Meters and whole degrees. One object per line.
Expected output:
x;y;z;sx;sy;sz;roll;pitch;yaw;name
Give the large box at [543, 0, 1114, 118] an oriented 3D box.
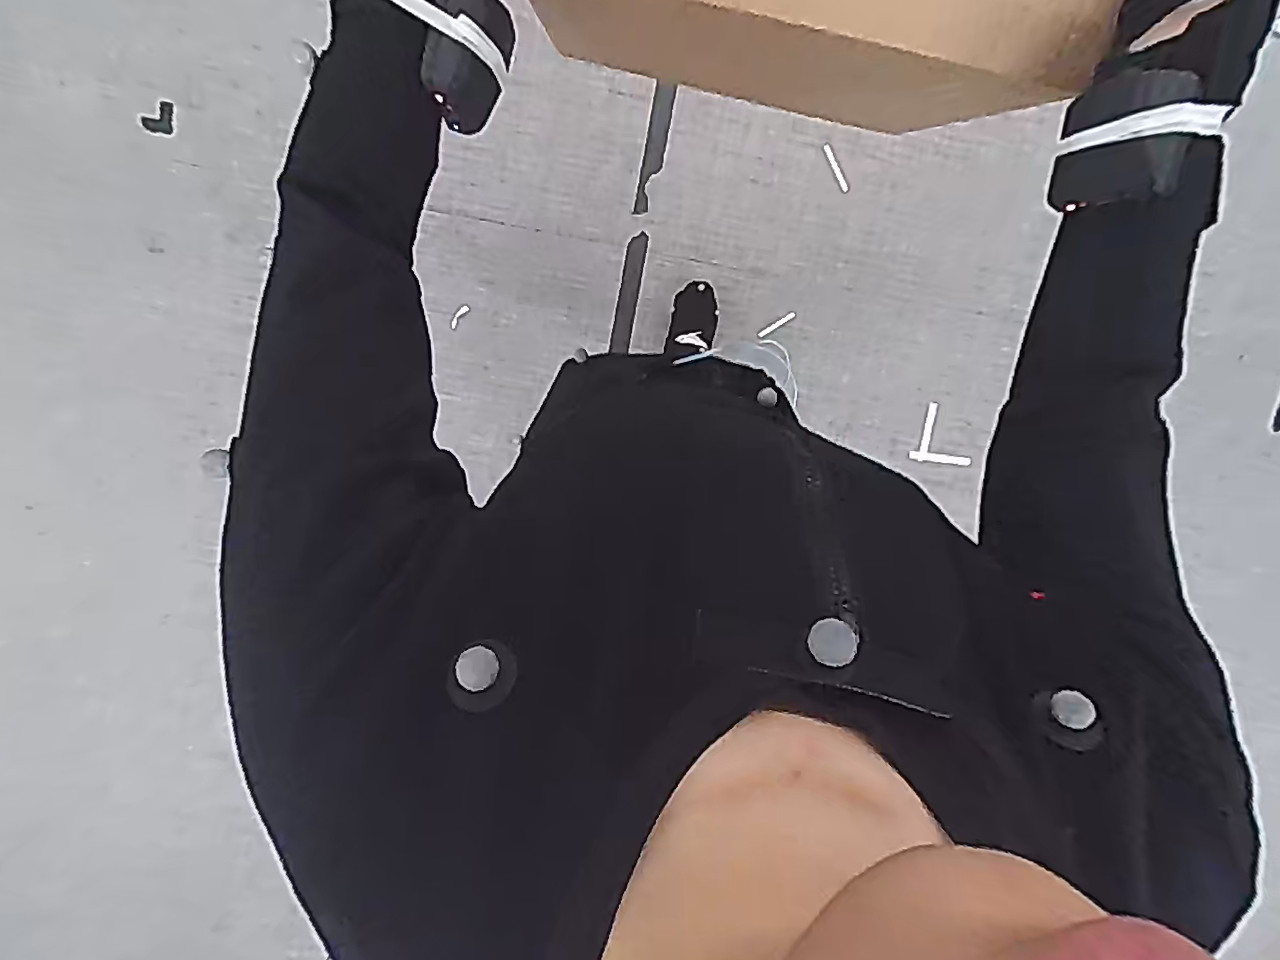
0.134;-0.513;0.416;0.408;0.320;0.320;9;119;-6;large box
